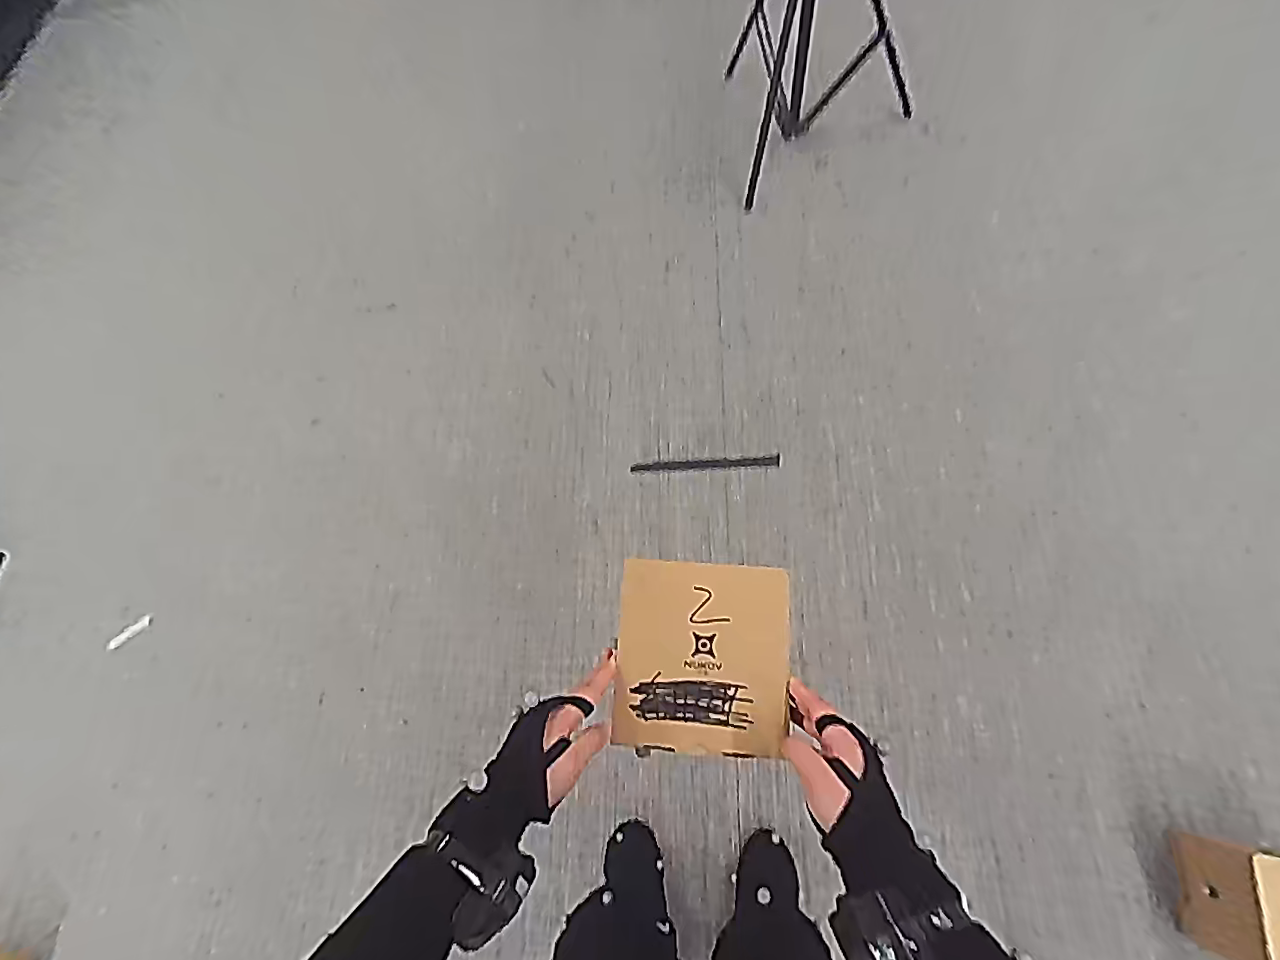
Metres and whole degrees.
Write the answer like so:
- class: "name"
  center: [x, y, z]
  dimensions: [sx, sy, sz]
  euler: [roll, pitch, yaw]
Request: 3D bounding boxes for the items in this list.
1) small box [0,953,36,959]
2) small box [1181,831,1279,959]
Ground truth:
- class: "small box"
  center: [-1.357, 1.058, 1.051]
  dimensions: [0.179, 0.176, 0.168]
  euler: [-9, 68, 6]
- class: "small box"
  center: [0.997, 0.668, 0.838]
  dimensions: [0.179, 0.176, 0.168]
  euler: [7, 71, 11]
